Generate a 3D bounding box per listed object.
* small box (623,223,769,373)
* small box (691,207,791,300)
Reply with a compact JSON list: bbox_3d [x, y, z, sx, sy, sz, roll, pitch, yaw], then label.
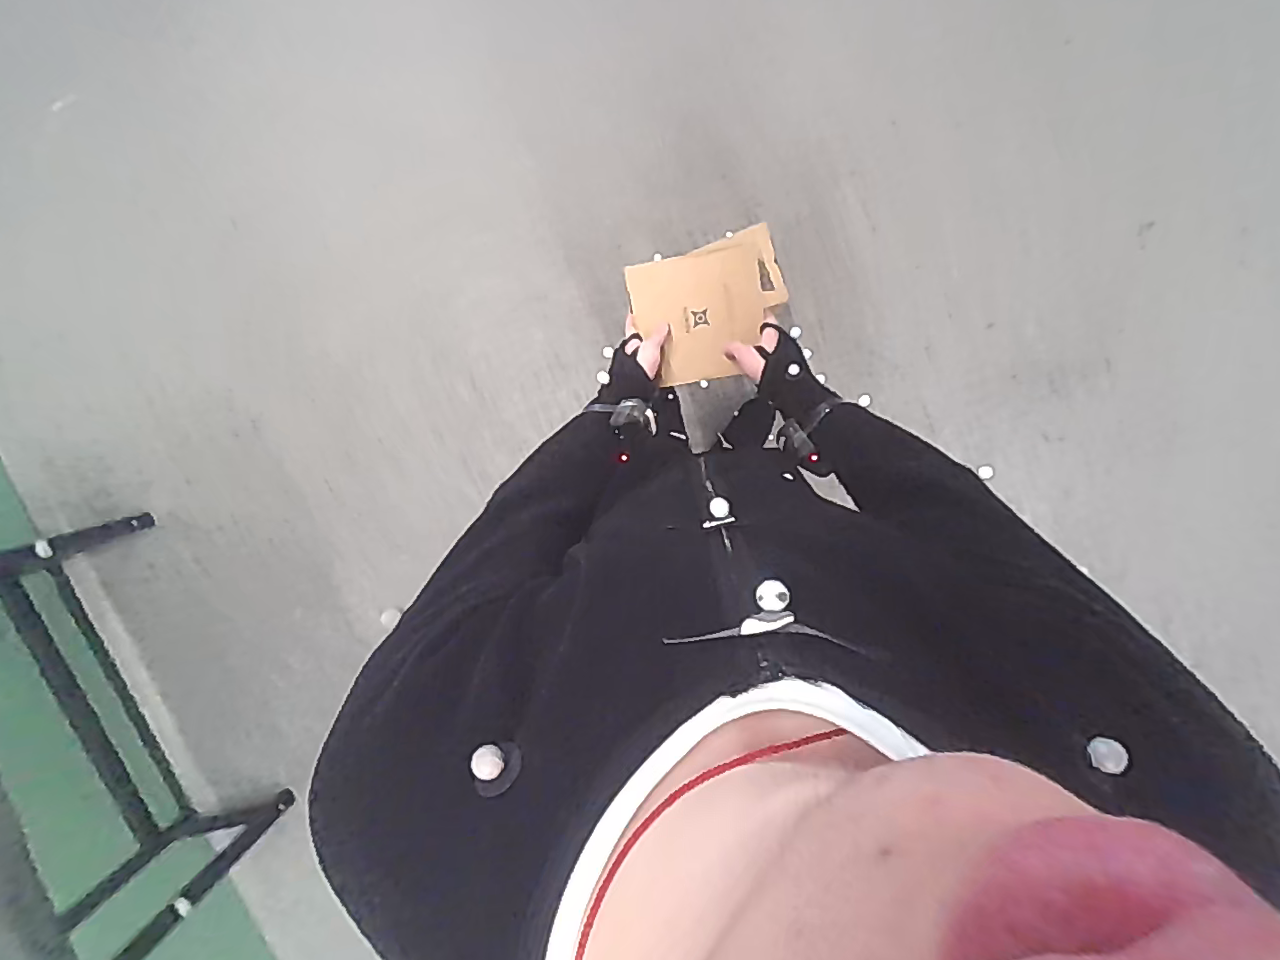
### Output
[{"bbox_3d":[0.083,-0.261,0.794,0.179,0.176,0.168,-10,108,7],"label":"small box"},{"bbox_3d":[0.217,-0.473,1.196,0.179,0.176,0.168,-18,100,12],"label":"small box"}]
